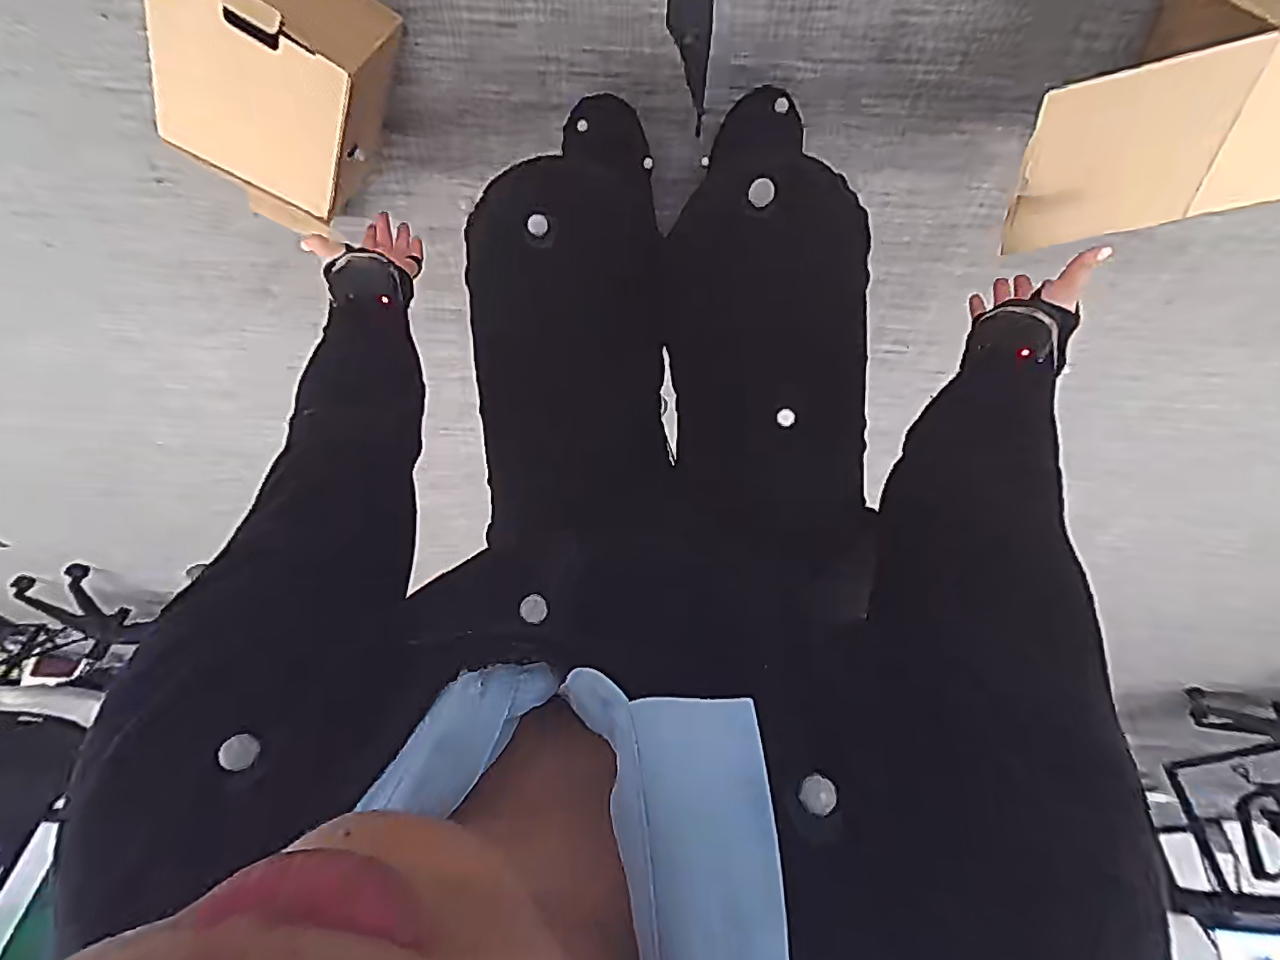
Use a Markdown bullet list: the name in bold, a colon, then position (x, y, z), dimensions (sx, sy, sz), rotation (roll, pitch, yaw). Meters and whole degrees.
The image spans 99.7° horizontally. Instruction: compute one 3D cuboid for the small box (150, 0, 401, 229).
- **small box**: position (-0.380, -0.424, 0.586), dimensions (0.168, 0.176, 0.179), rotation (22, 140, -24)
